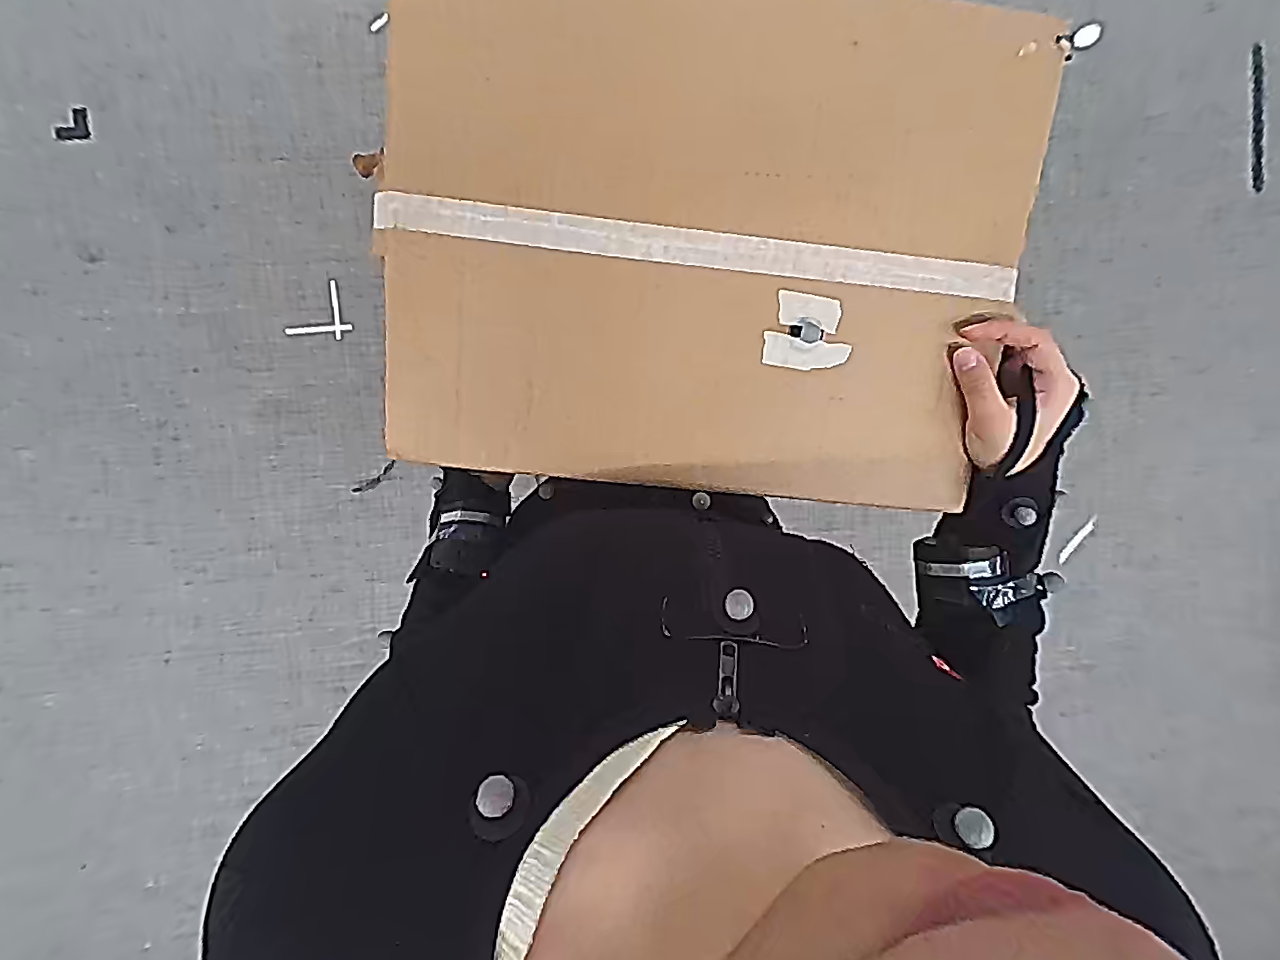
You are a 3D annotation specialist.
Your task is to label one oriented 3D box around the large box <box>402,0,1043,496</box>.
[{"bbox_3d":[0.036,-0.178,0.499,0.408,0.320,0.320,4,102,-5],"label":"large box"}]
